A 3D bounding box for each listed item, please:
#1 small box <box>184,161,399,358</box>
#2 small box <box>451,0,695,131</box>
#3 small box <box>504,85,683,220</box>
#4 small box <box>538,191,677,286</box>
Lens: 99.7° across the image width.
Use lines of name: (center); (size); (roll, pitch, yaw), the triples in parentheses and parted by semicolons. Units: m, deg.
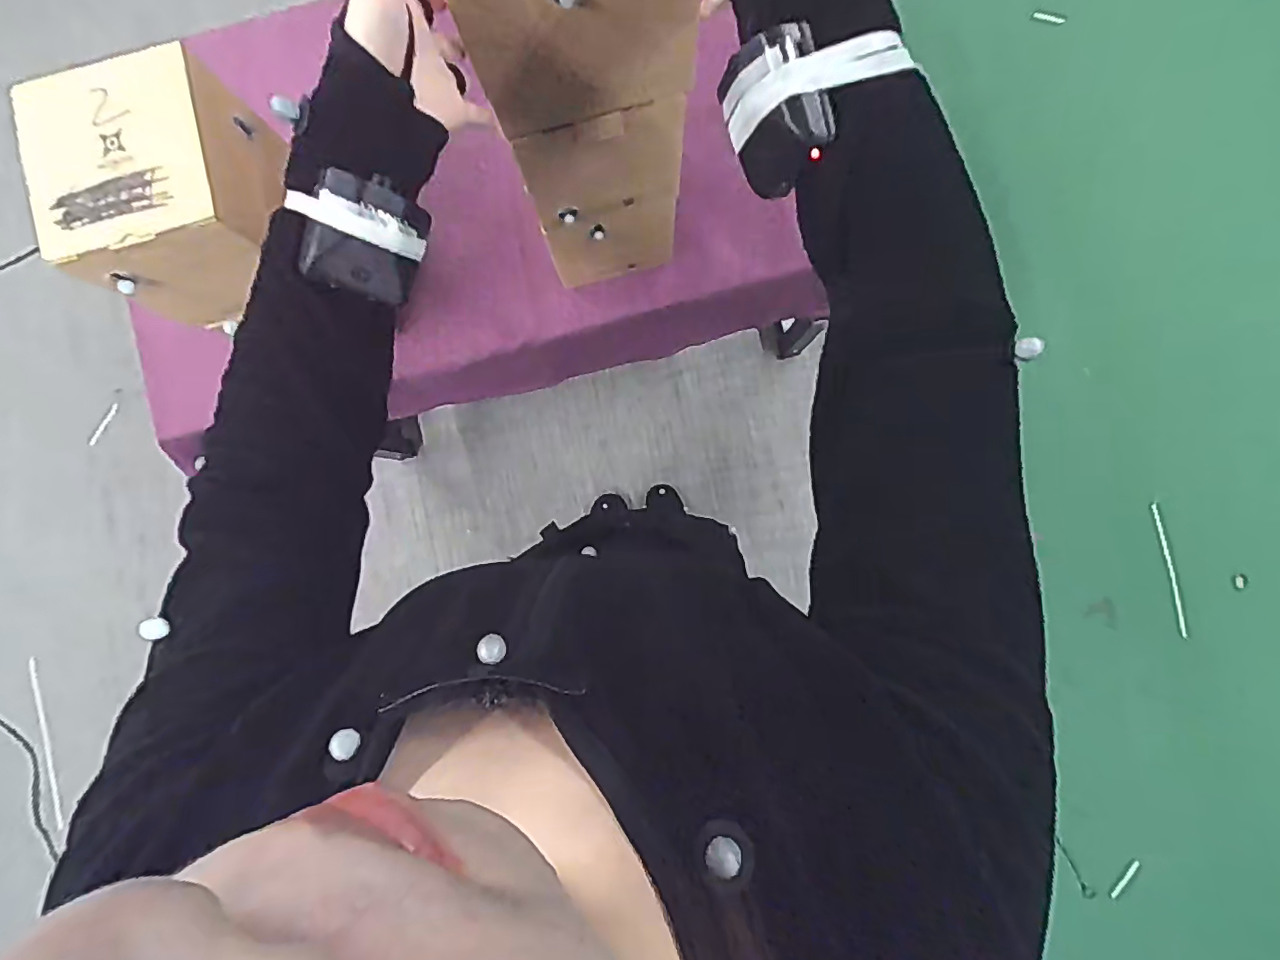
small box: (-0.458, -0.286, 0.737); (0.168, 0.176, 0.179); (-13, 89, 2)
small box: (-0.057, -0.400, 0.399); (0.179, 0.176, 0.168); (-14, 89, 1)
small box: (-0.055, -0.400, 0.564); (0.168, 0.176, 0.179); (-15, 87, 1)
small box: (-0.052, -0.393, 0.728); (0.168, 0.176, 0.179); (-14, 87, 3)
